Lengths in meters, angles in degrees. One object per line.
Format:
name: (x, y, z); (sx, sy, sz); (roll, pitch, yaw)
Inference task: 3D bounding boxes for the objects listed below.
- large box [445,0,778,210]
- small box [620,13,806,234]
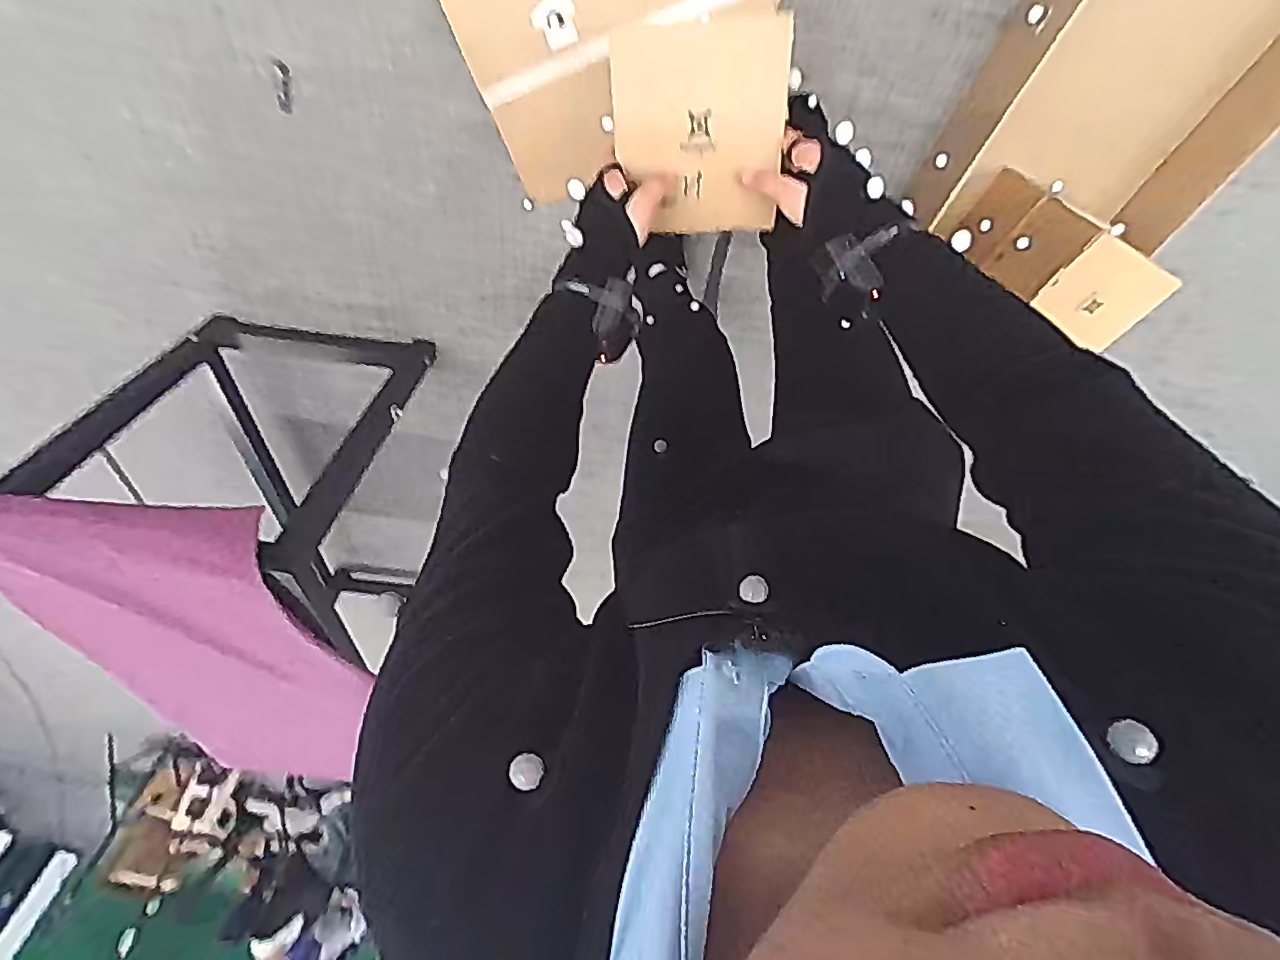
large box: (-0.011, -0.679, 0.816); (0.408, 0.320, 0.320); (-11, 132, 17)
small box: (0.069, -0.373, 0.580); (0.168, 0.176, 0.179); (1, 125, 4)
